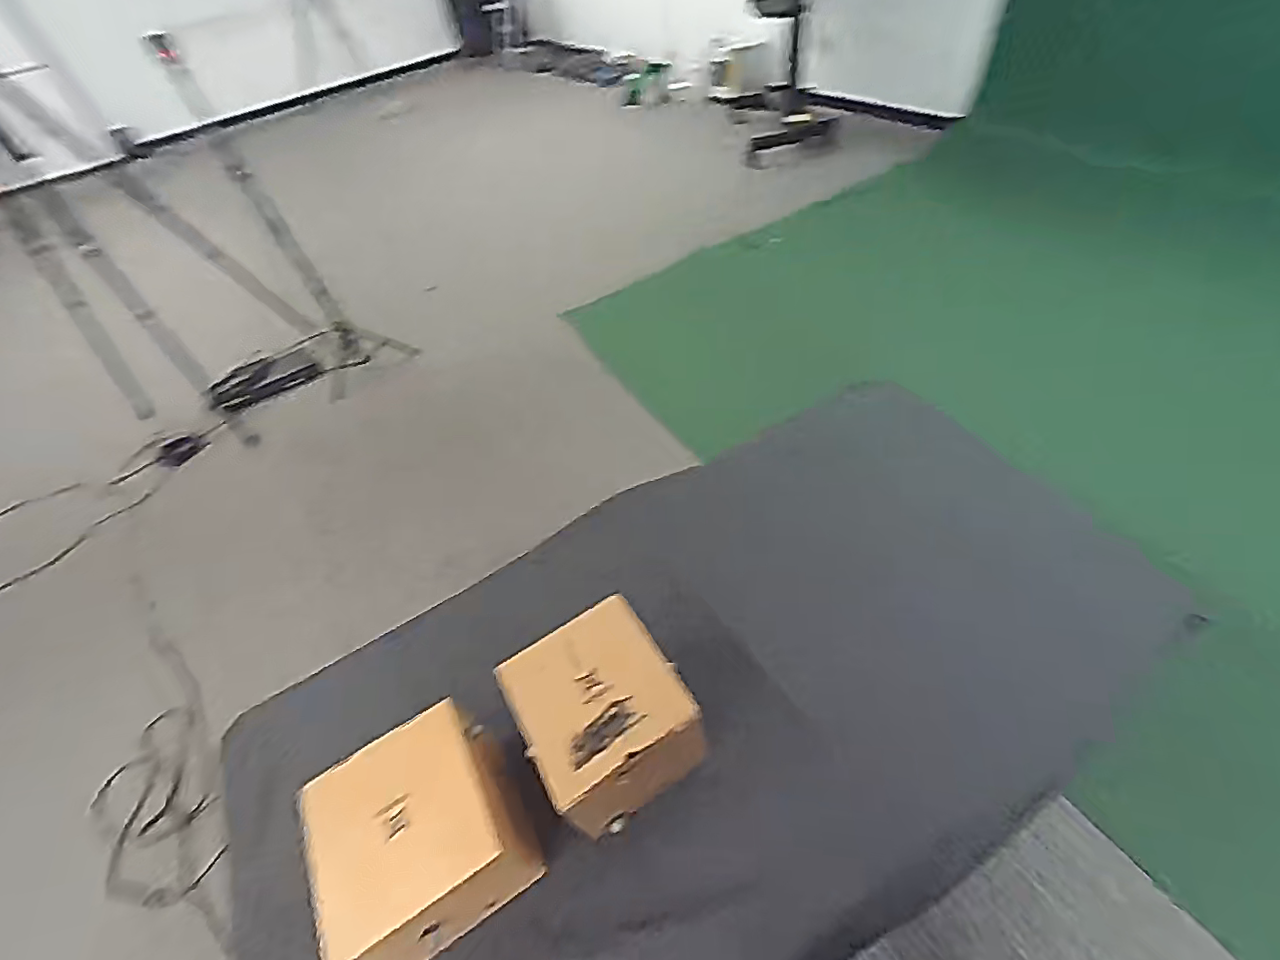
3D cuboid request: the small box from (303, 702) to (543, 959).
[{"bbox_3d":[-0.228,0.387,0.593,0.168,0.176,0.179,-30,50,-15],"label":"small box"}]
